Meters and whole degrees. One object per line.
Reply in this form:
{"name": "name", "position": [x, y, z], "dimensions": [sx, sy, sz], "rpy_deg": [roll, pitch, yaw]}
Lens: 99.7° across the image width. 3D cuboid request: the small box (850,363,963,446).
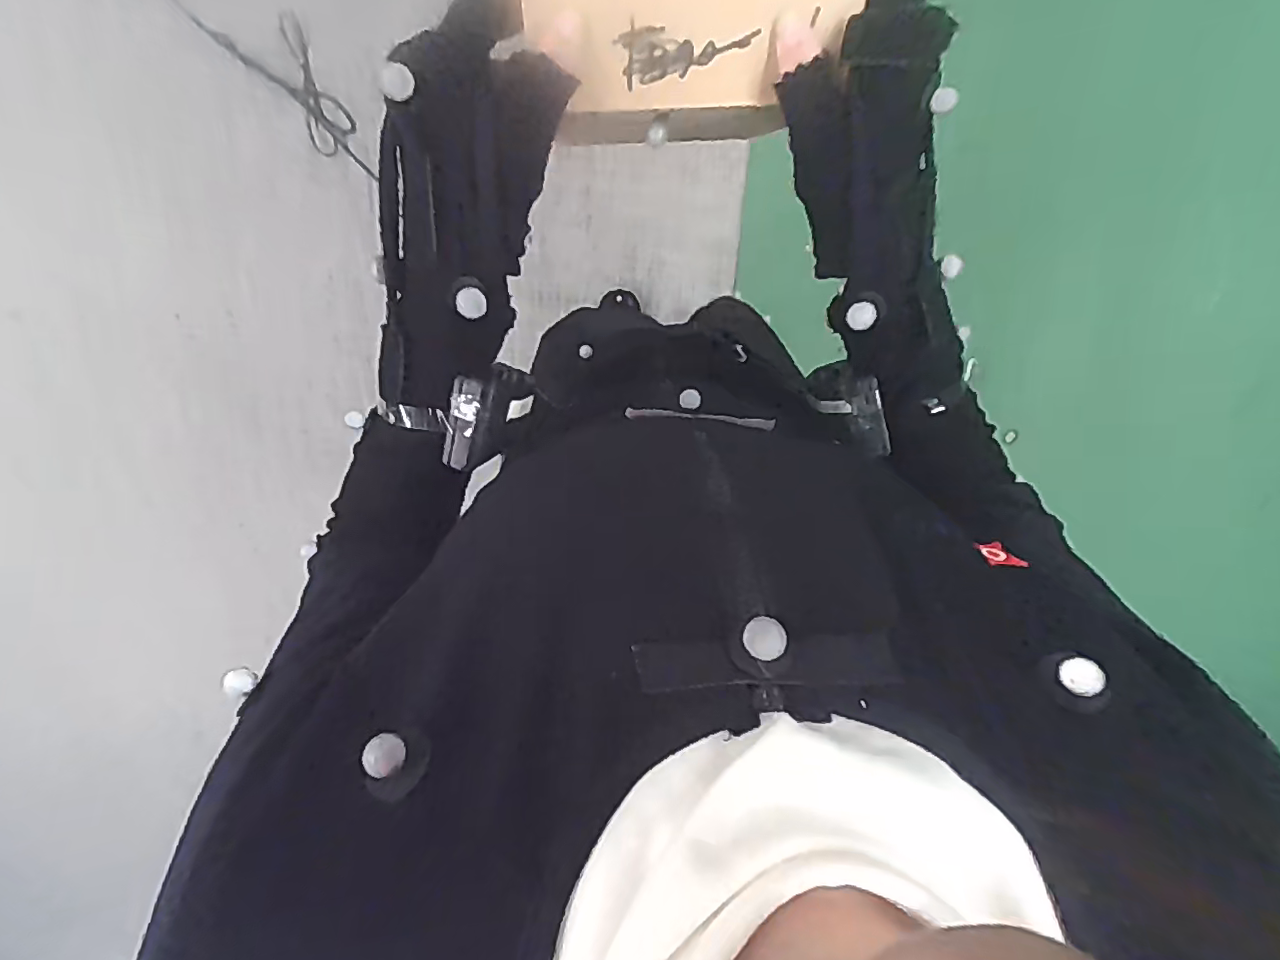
{"name": "small box", "position": [0.665, -0.196, 1.368], "dimensions": [0.179, 0.176, 0.168], "rpy_deg": [5, 111, -4]}
